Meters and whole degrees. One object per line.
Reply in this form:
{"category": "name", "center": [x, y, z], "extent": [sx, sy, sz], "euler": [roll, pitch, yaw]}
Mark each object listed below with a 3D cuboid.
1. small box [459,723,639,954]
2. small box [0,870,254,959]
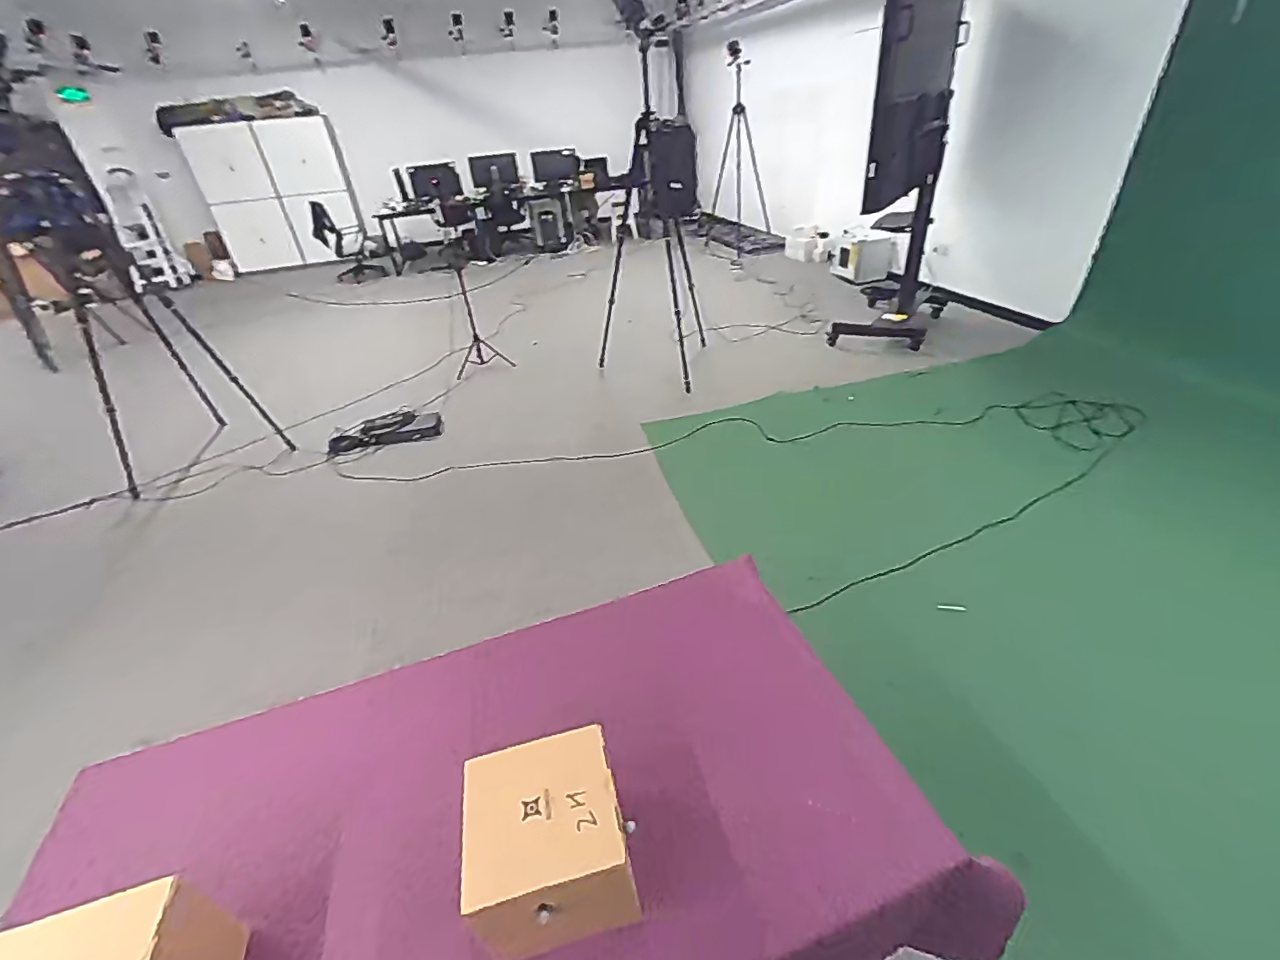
{"category": "small box", "center": [-0.109, 0.442, 0.671], "extent": [0.179, 0.176, 0.168], "euler": [-12, 35, -7]}
{"category": "small box", "center": [-0.560, 0.567, 0.571], "extent": [0.179, 0.176, 0.168], "euler": [-14, 34, -12]}
